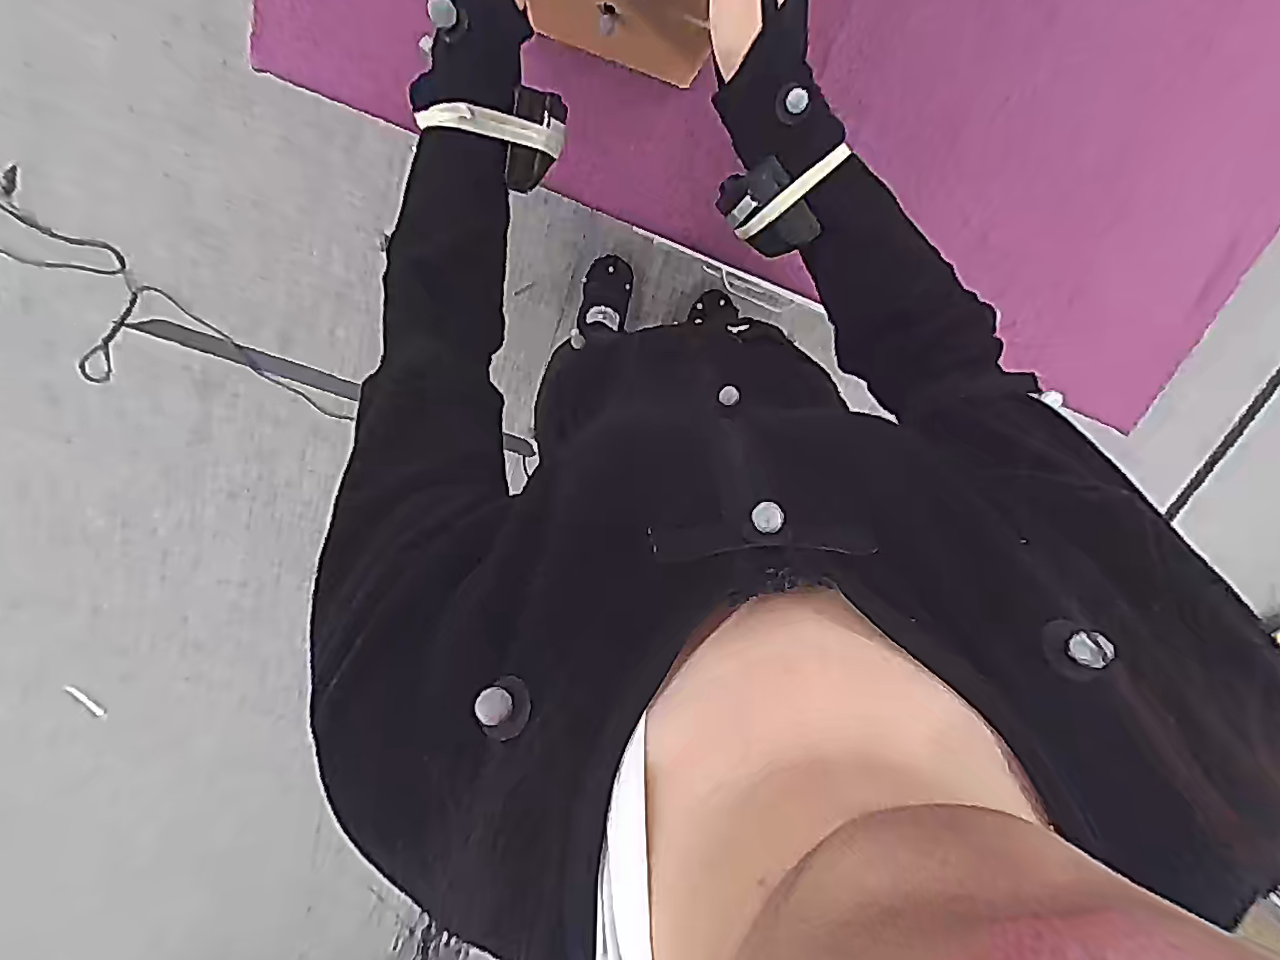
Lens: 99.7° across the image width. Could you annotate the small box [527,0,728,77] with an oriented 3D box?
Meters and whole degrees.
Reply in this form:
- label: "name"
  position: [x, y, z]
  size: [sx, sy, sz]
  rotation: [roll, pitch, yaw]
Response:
- label: "small box"
  position: [-0.001, -0.493, 0.477]
  size: [0.179, 0.176, 0.168]
  rotation: [14, 111, -10]
